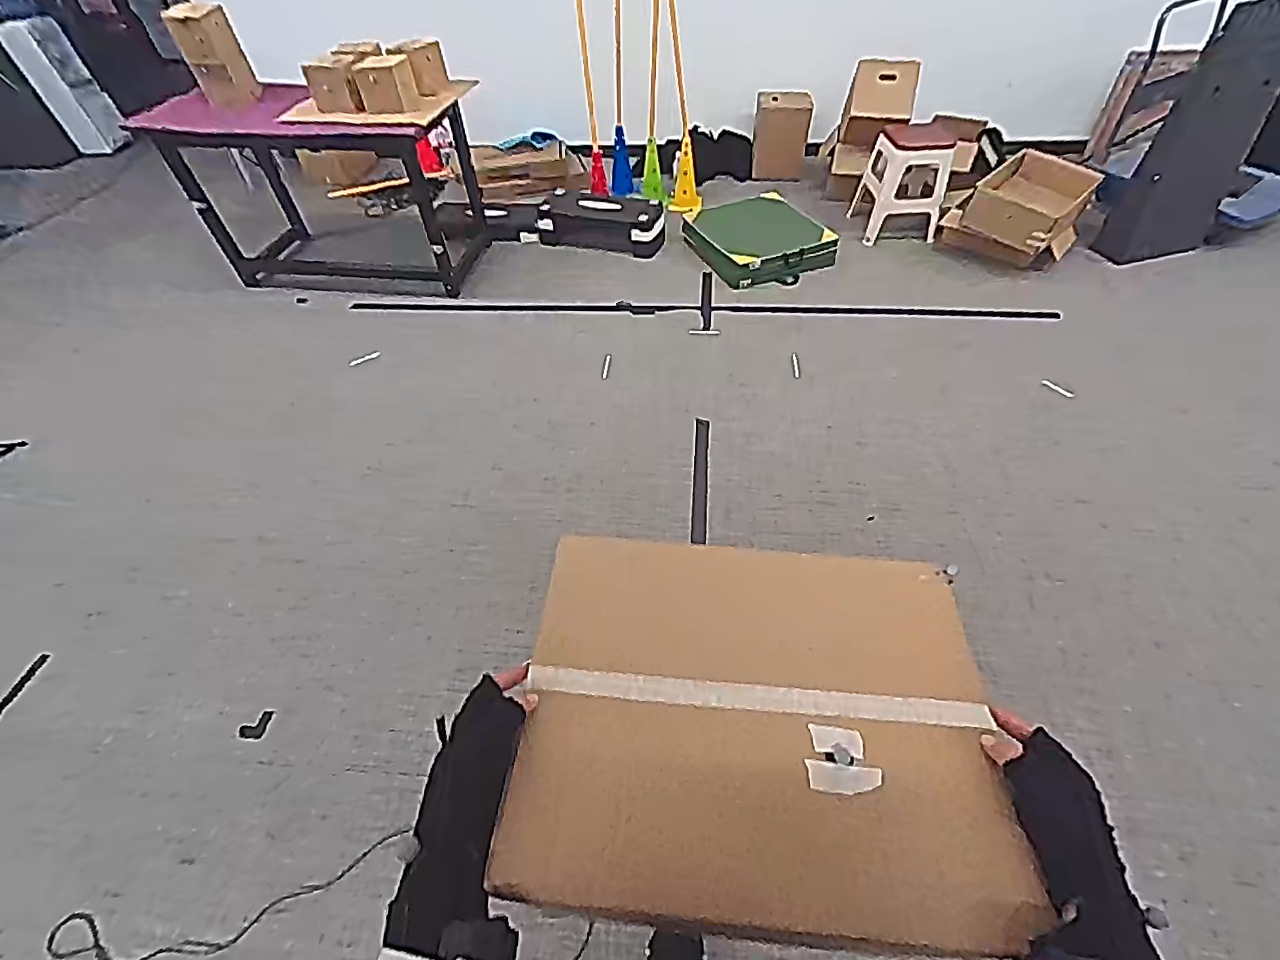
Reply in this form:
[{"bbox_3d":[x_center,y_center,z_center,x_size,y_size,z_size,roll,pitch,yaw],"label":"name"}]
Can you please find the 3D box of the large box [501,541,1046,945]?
[{"bbox_3d":[0.102,0.291,0.598,0.408,0.320,0.320,5,51,3],"label":"large box"}]
